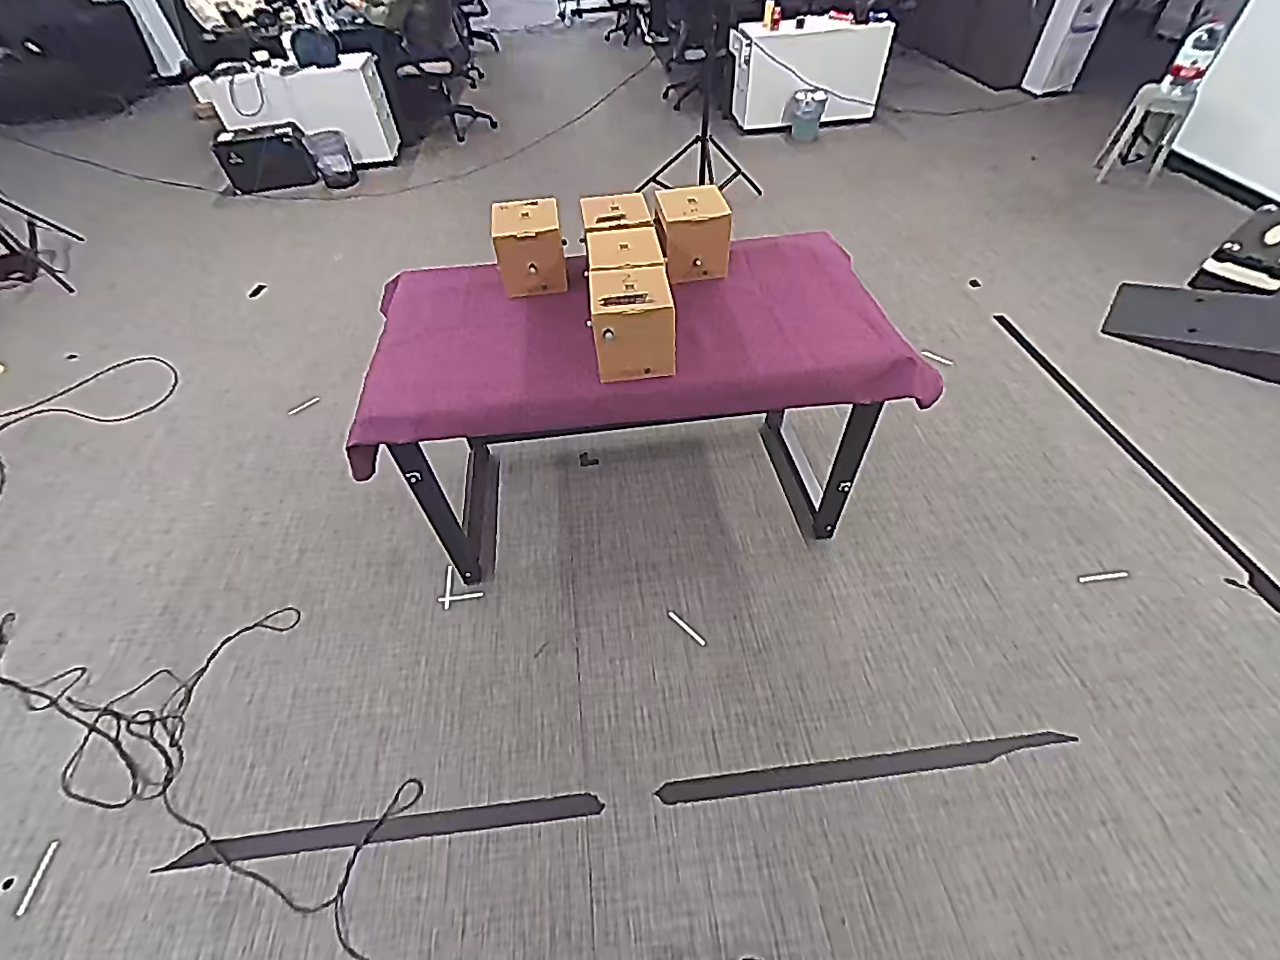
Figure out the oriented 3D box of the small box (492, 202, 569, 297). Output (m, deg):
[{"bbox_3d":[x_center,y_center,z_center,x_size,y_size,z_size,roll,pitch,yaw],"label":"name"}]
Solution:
[{"bbox_3d":[-0.281,-0.593,1.409,0.168,0.176,0.179,-8,52,-4],"label":"small box"}]
